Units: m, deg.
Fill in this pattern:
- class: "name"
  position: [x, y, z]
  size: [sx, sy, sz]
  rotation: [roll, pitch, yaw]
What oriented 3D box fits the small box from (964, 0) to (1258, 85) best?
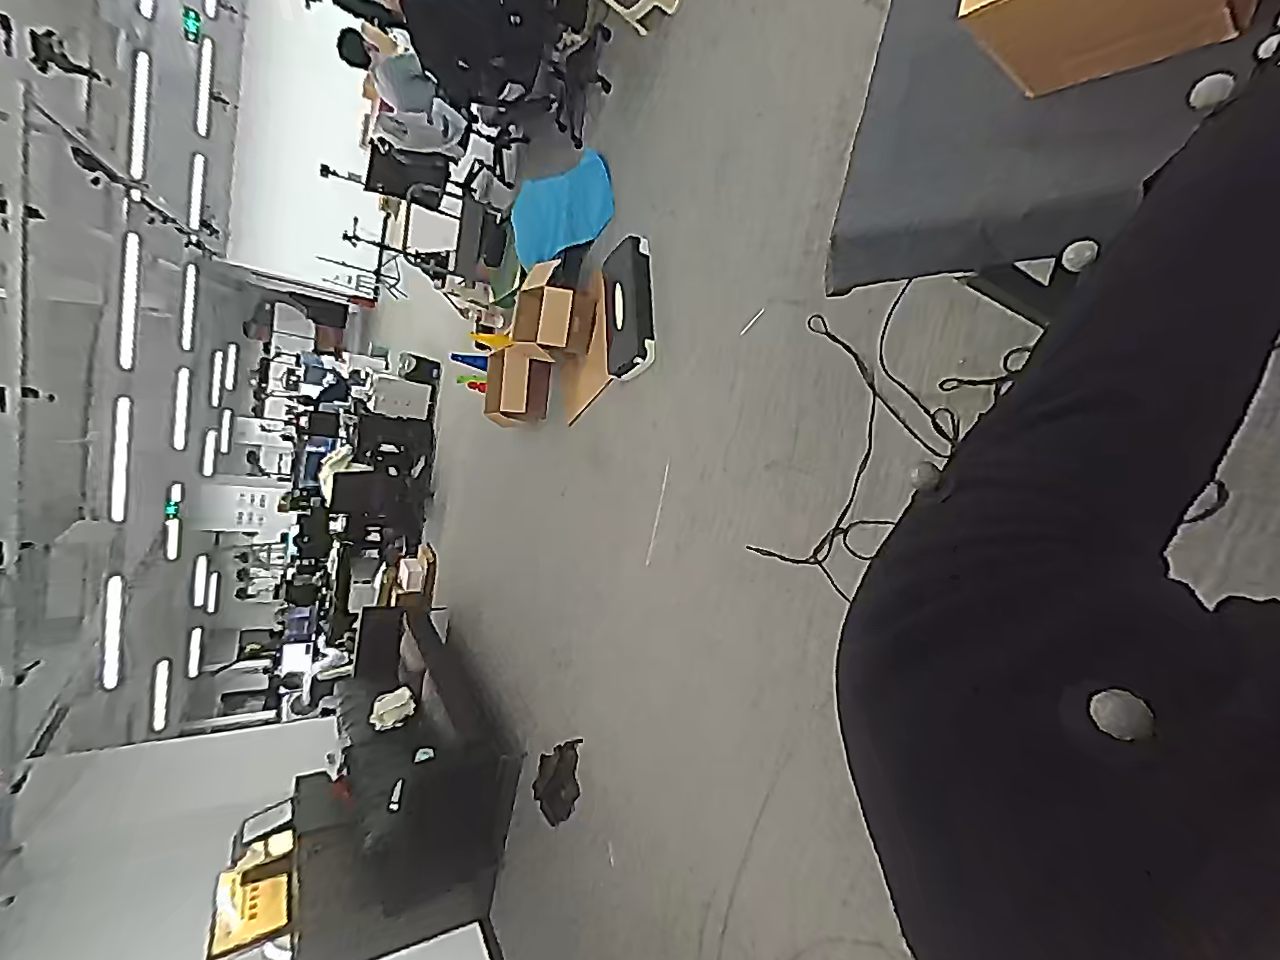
- class: "small box"
  position: [0.448, -0.511, 0.496]
  size: [0.179, 0.176, 0.168]
  rotation: [24, 105, 55]
